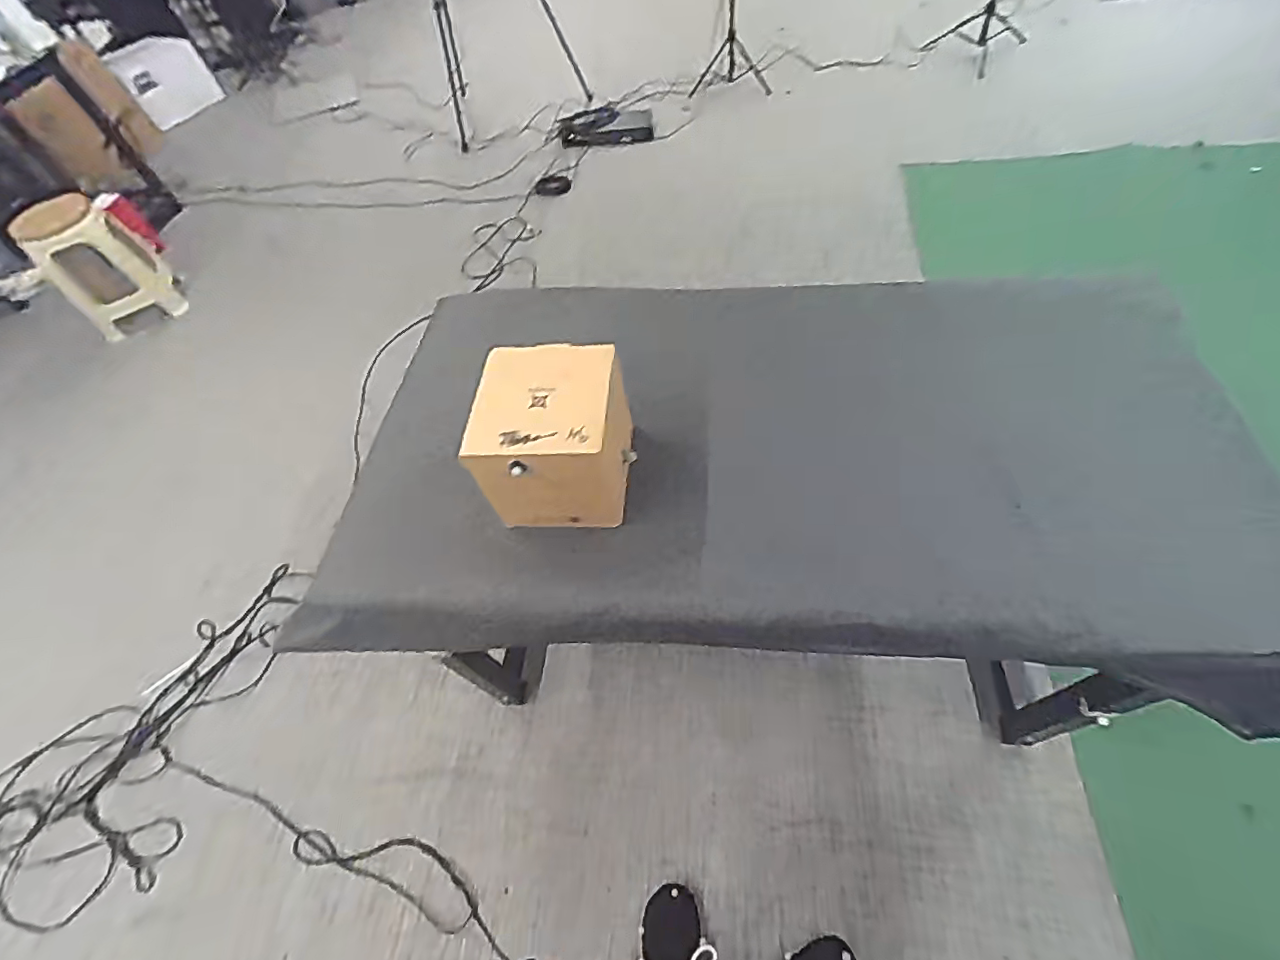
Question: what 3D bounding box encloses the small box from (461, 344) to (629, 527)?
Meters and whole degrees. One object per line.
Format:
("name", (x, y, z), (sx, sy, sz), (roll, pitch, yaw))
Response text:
("small box", (-0.108, -0.057, 0.710), (0.168, 0.176, 0.179), (0, 55, 7))
